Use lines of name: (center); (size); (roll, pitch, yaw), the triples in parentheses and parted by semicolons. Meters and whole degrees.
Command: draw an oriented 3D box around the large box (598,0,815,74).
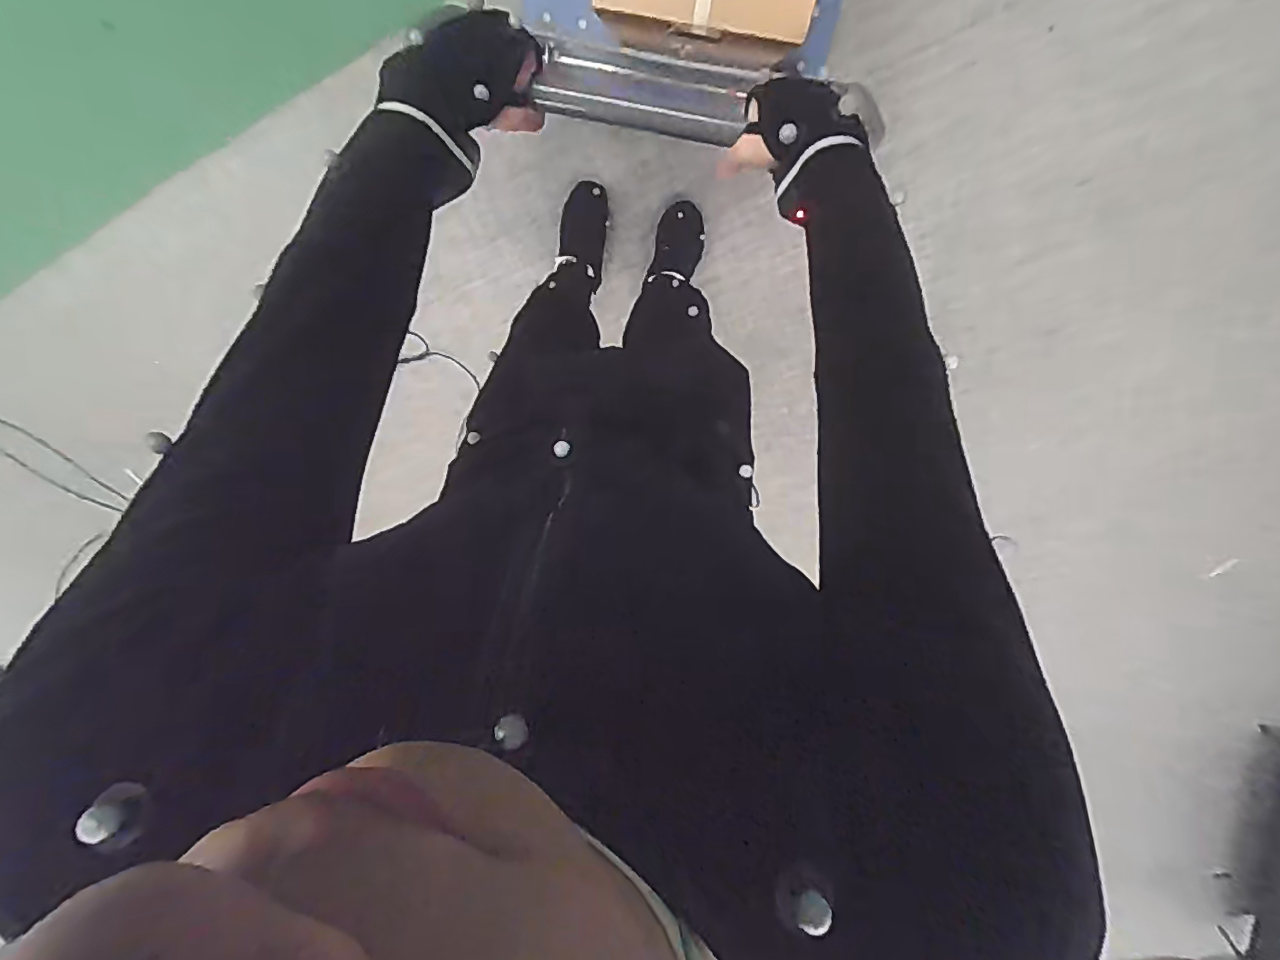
large box: (0.126, -0.895, 0.818); (0.320, 0.320, 0.408); (9, 122, -2)
